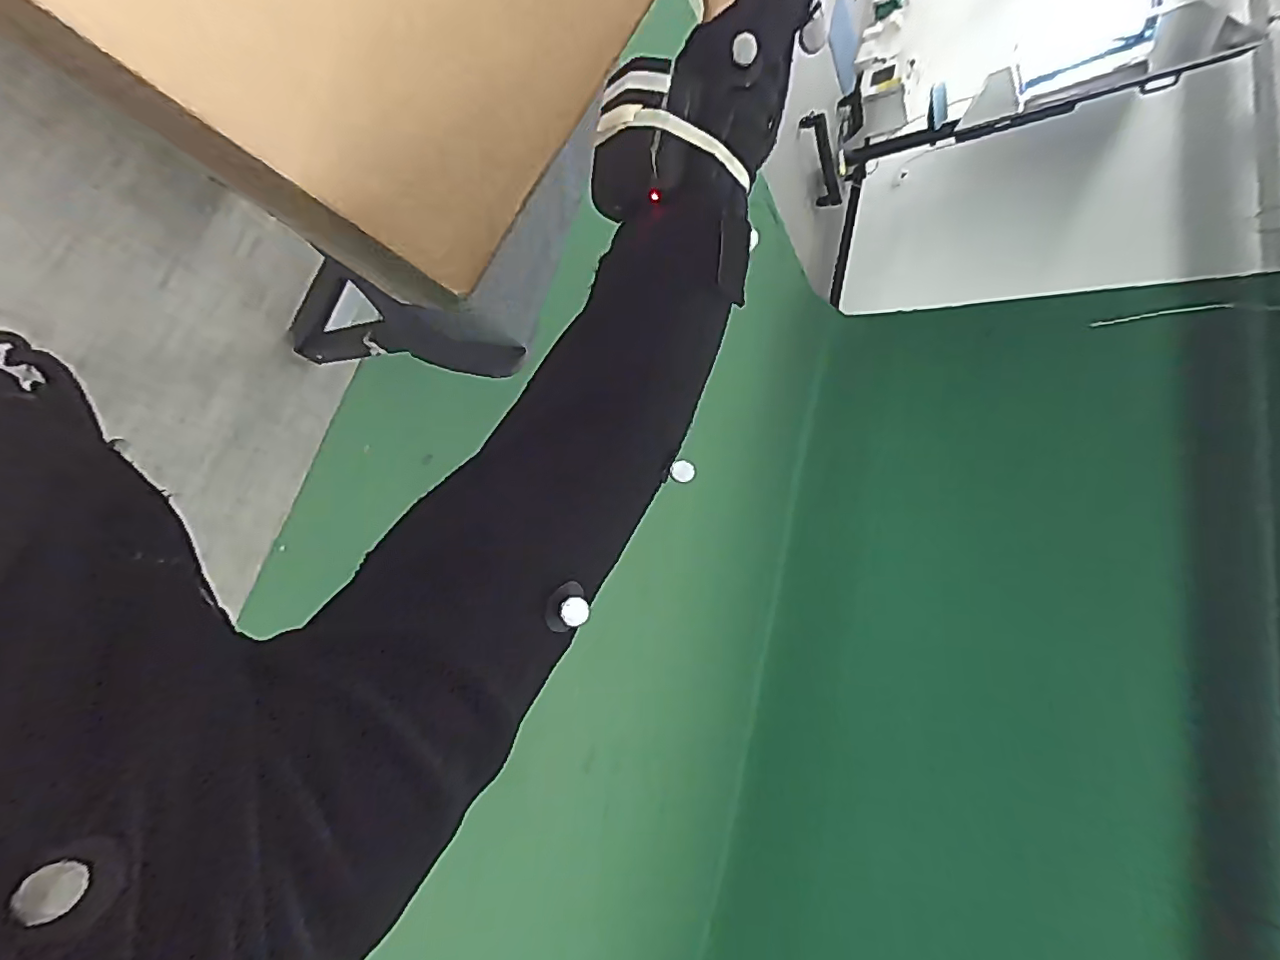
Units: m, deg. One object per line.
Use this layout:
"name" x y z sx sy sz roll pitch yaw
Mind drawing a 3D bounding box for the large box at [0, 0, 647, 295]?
"large box" -0.233 -0.358 0.312 0.408 0.320 0.320 29 91 -35
